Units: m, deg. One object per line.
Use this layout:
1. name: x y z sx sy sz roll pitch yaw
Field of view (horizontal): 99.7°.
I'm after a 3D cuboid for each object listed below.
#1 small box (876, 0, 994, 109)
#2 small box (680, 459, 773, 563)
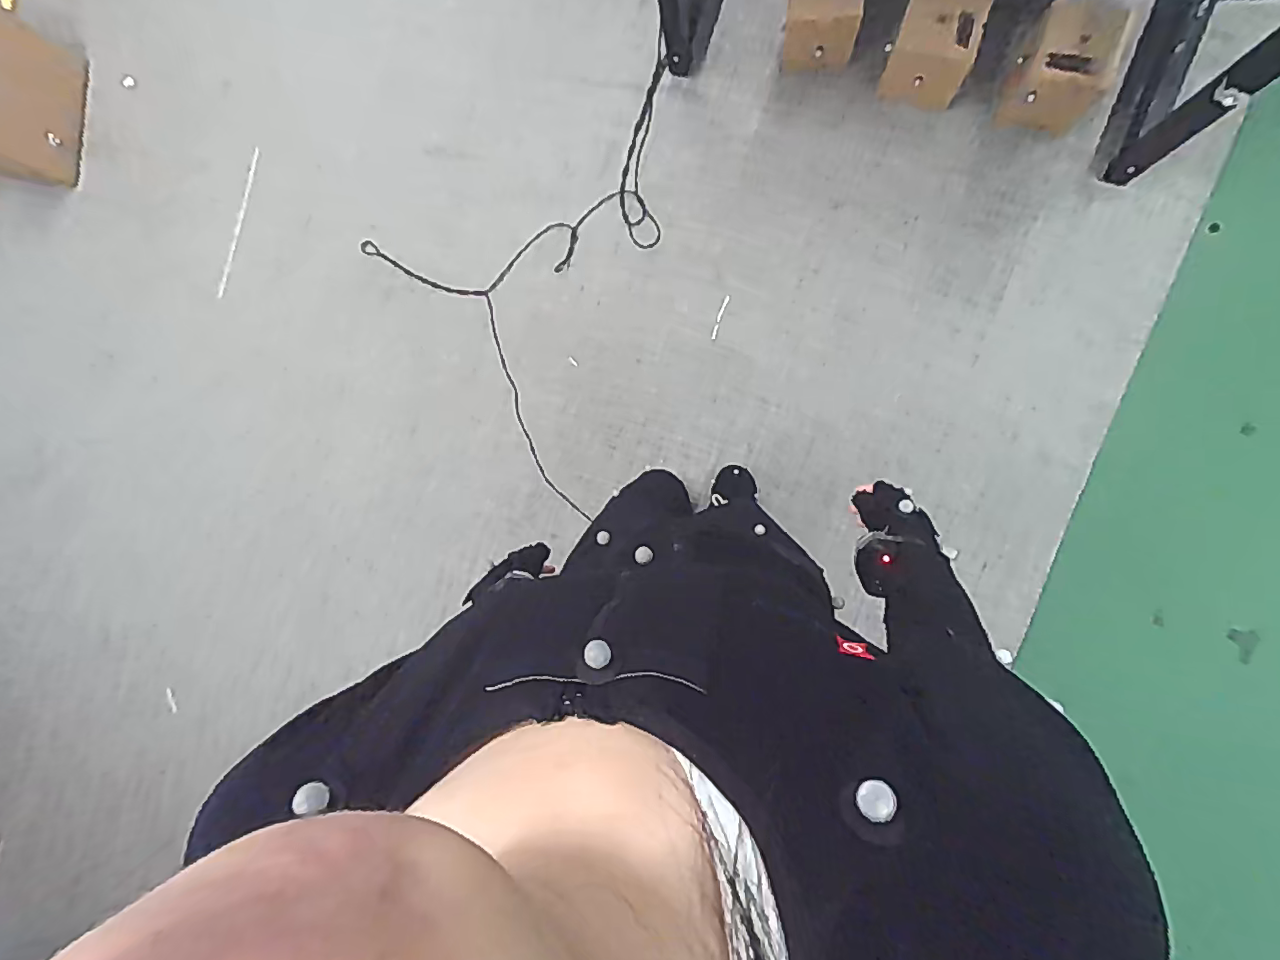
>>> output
1. small box: 0.689 -1.021 1.280 0.179 0.176 0.168 18 95 9
2. small box: 0.217 0.083 1.405 0.179 0.176 0.168 -28 58 -13
